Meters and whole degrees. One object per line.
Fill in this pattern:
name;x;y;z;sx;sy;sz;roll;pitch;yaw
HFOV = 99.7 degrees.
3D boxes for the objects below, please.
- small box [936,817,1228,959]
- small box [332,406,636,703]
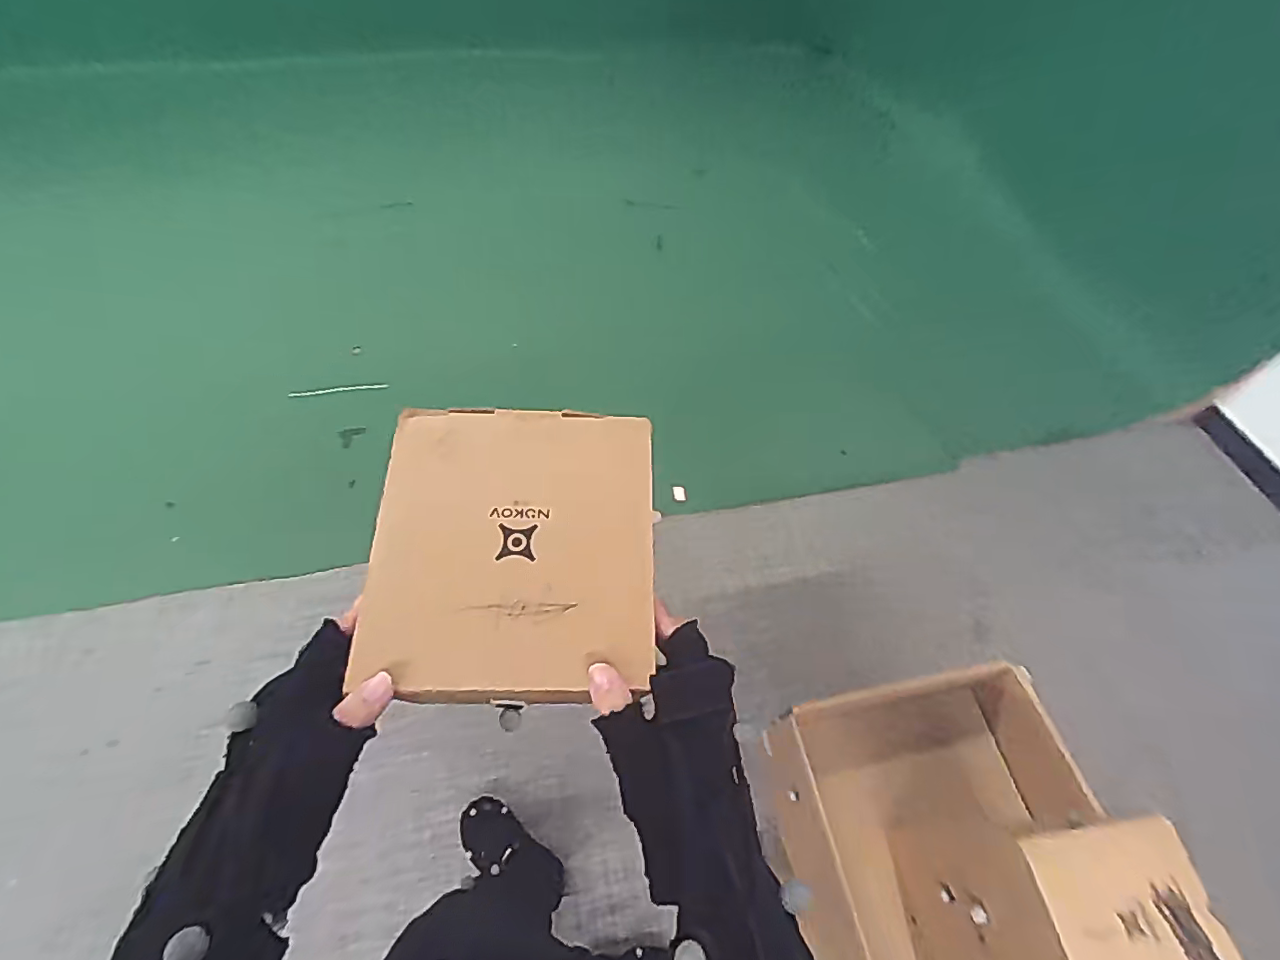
small box;0.477;0.481;0.603;0.179;0.176;0.168;-4;58;-6
small box;-0.092;0.065;0.401;0.168;0.176;0.179;1;65;-5
